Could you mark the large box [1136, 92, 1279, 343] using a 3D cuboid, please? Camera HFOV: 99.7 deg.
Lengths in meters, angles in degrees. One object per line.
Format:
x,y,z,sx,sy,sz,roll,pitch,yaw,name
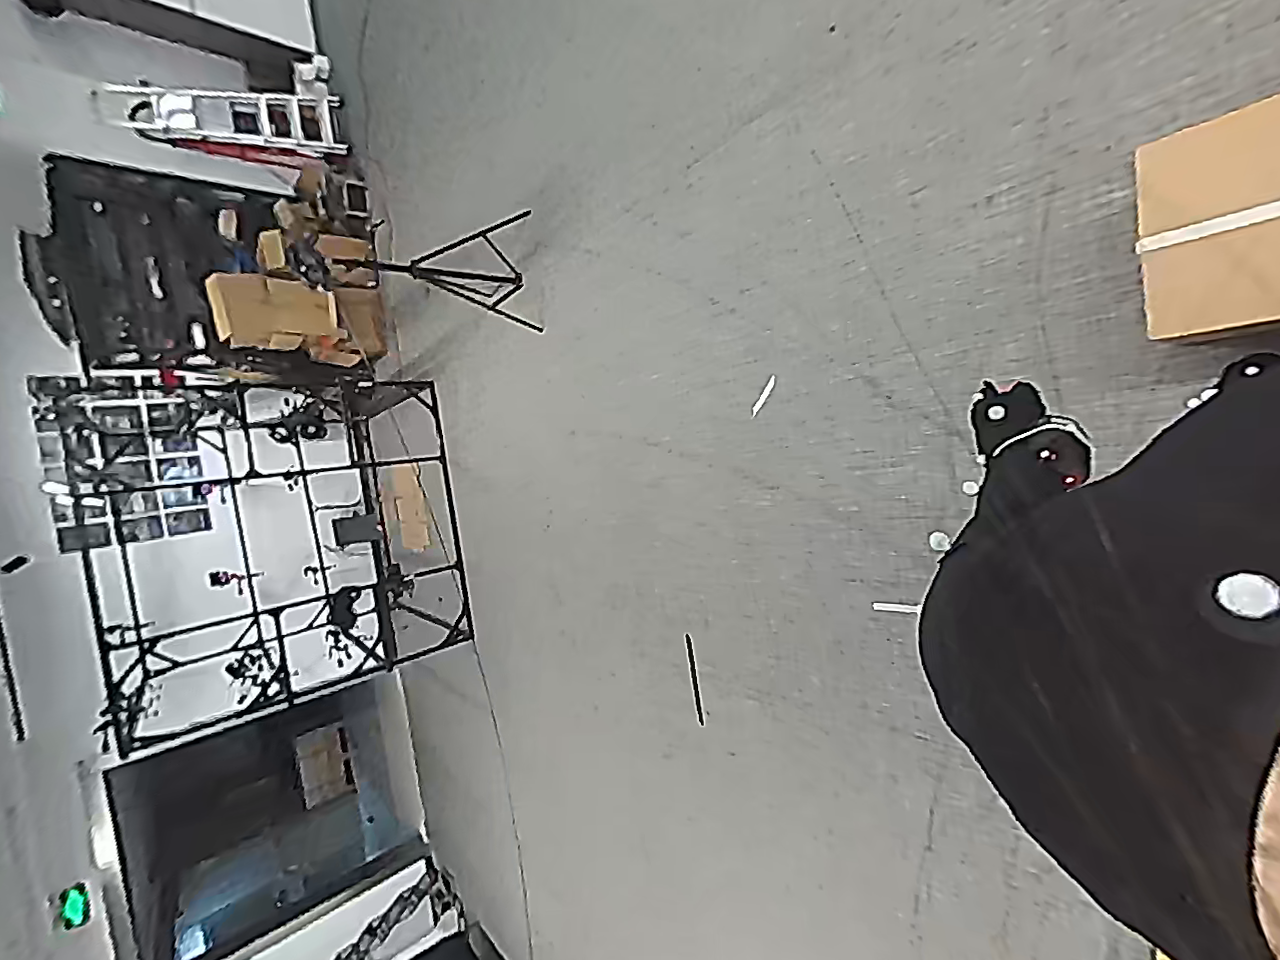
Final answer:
1.062,-0.415,0.829,0.408,0.320,0.320,-4,95,49,large box
